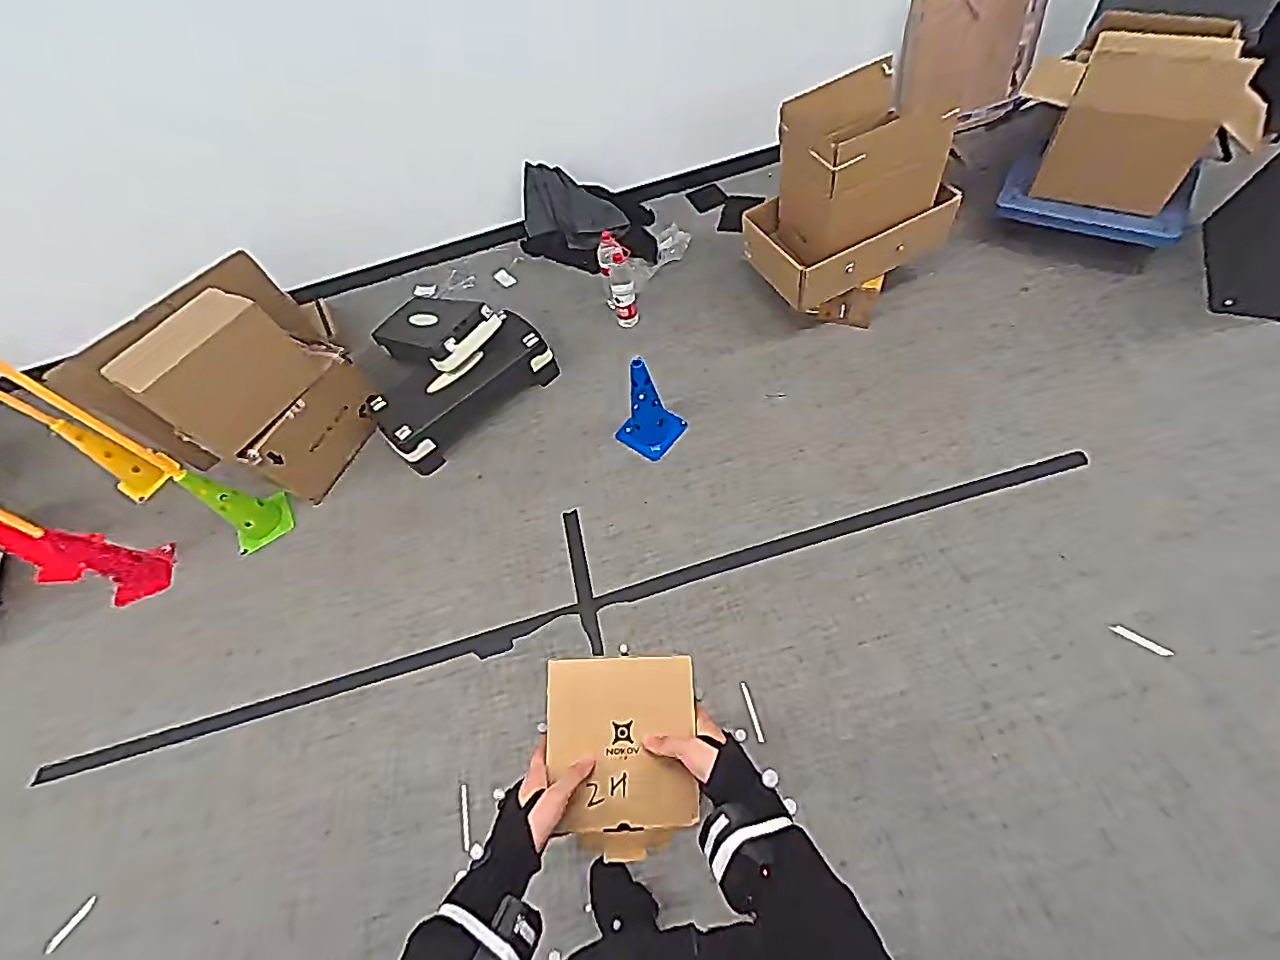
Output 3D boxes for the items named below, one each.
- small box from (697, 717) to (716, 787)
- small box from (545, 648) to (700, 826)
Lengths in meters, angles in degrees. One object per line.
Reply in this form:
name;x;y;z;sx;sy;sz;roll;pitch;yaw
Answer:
small box;0.085;0.678;1.340;0.168;0.176;0.179;-19;58;-1
small box;-0.022;0.299;0.664;0.168;0.176;0.179;0;74;-2
